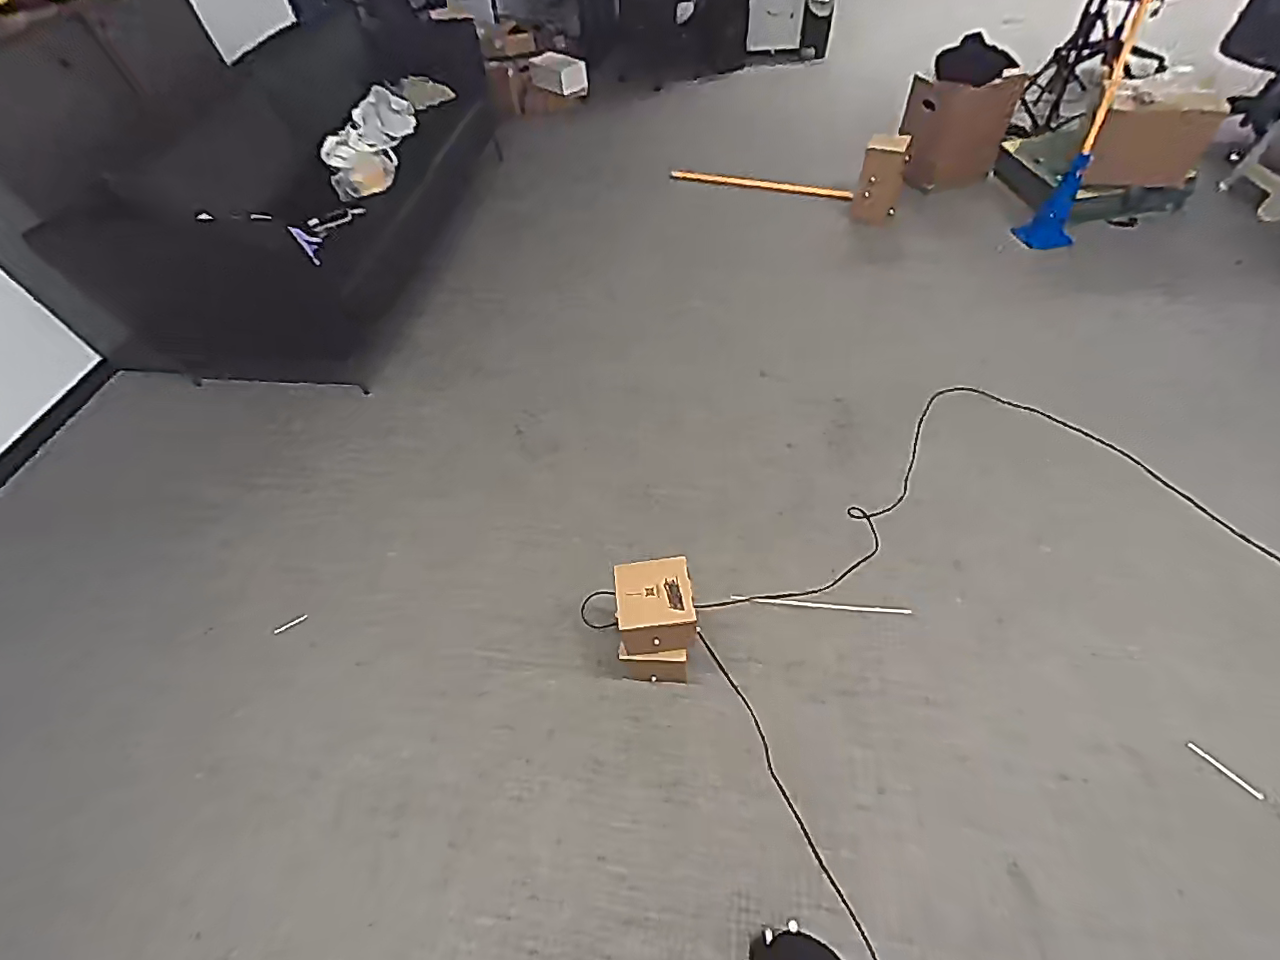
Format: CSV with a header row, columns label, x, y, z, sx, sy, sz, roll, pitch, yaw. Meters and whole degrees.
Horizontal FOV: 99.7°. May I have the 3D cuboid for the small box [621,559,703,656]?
label,x,y,z,sx,sy,sz,roll,pitch,yaw
small box,0.056,0.313,1.311,0.179,0.176,0.168,-9,52,3
